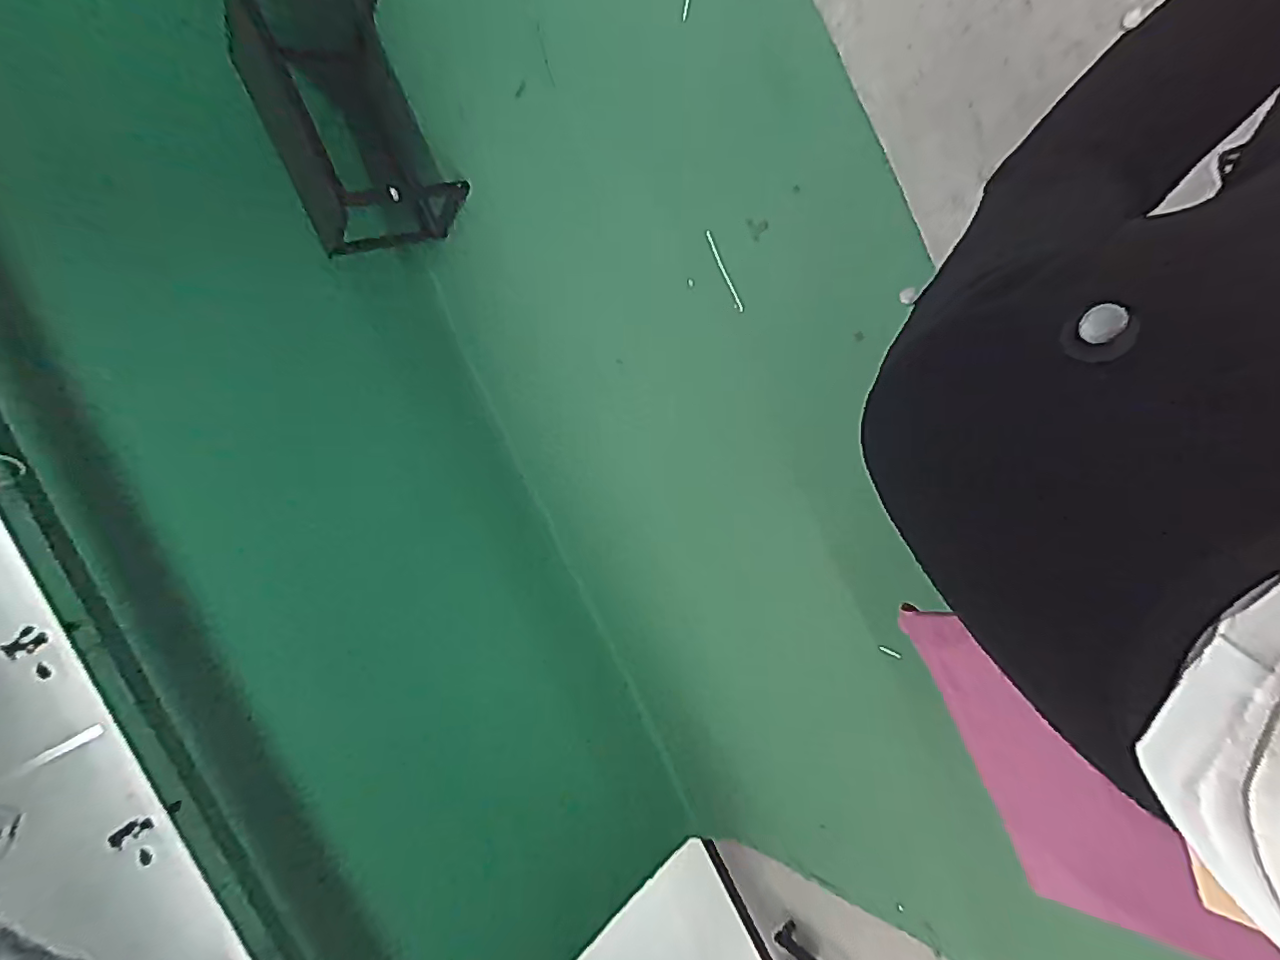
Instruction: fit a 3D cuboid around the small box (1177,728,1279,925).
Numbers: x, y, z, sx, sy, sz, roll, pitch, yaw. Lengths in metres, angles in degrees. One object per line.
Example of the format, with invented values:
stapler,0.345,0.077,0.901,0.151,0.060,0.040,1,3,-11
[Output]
small box,0.861,0.465,0.718,0.179,0.176,0.168,-8,107,55
